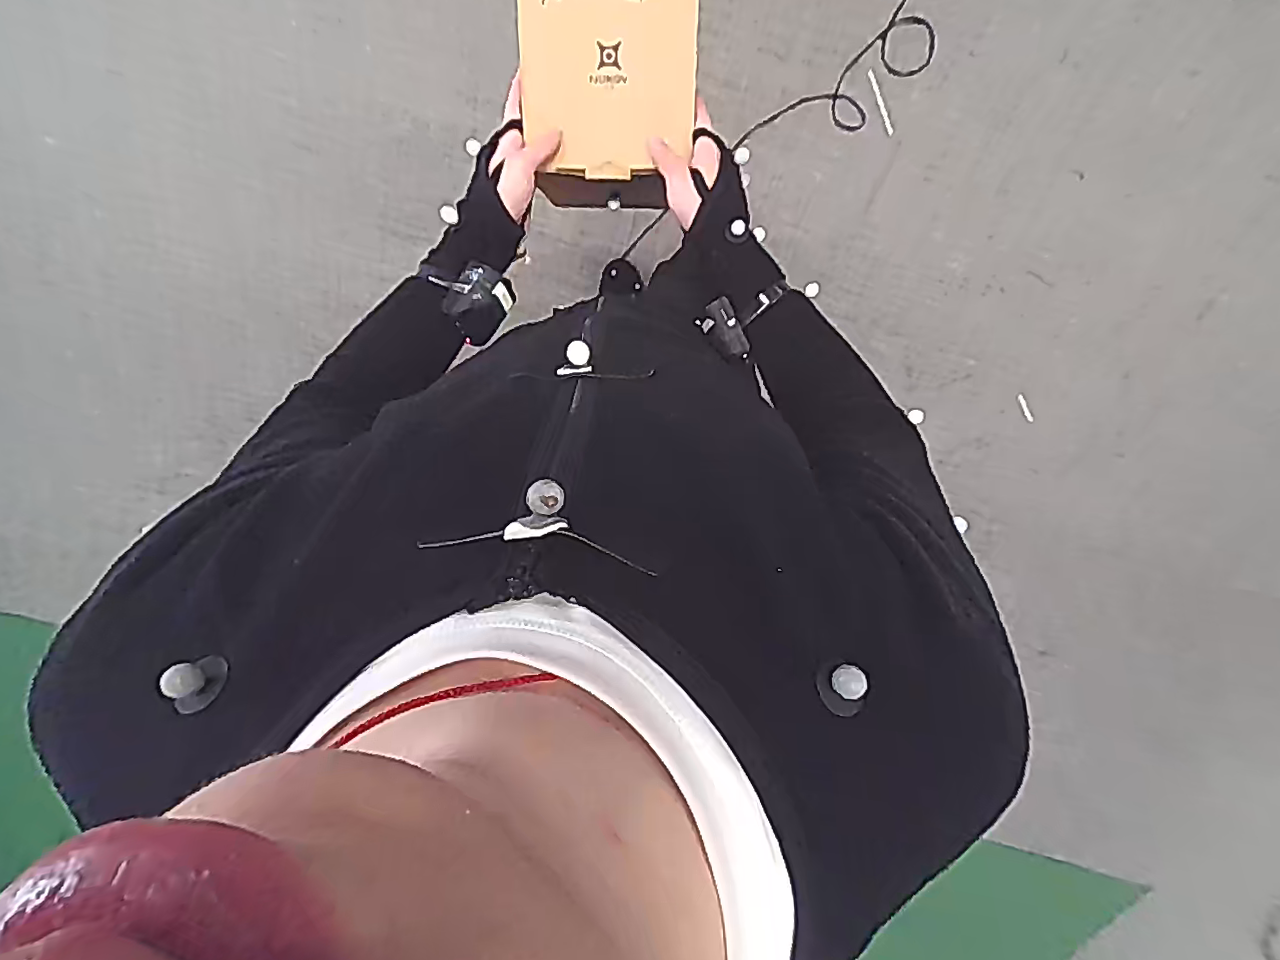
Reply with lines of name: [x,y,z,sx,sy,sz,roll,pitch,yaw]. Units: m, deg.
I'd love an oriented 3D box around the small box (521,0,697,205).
small box: [-0.024,-0.409,0.590,0.168,0.176,0.179,-1,106,2]
